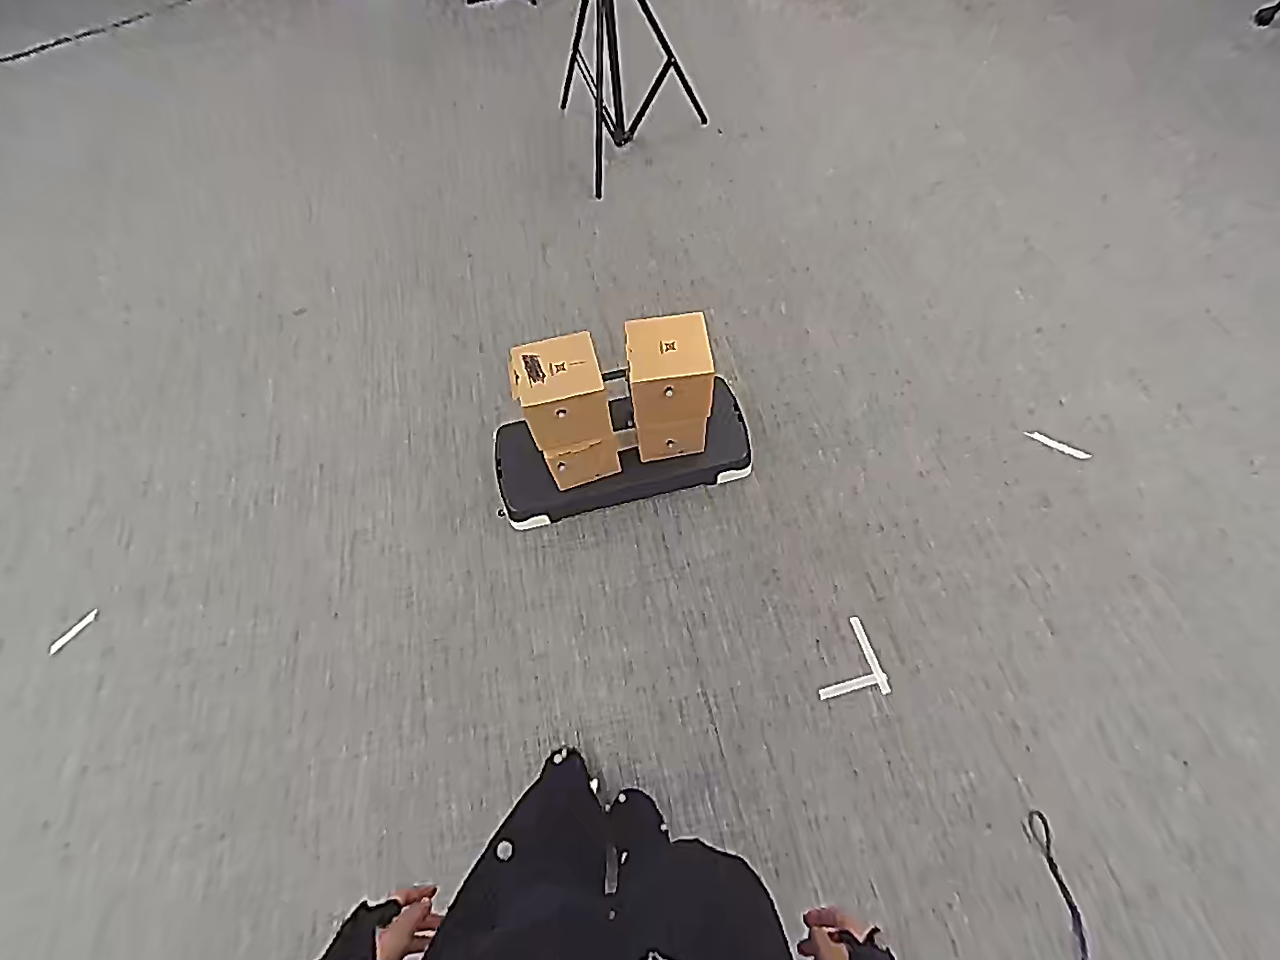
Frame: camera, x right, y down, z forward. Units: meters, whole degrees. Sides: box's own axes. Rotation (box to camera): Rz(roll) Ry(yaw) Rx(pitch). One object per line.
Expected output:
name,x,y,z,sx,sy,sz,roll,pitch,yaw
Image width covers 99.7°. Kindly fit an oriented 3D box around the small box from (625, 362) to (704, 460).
small box,0.062,-0.163,1.349,0.168,0.176,0.179,-10,63,-1
